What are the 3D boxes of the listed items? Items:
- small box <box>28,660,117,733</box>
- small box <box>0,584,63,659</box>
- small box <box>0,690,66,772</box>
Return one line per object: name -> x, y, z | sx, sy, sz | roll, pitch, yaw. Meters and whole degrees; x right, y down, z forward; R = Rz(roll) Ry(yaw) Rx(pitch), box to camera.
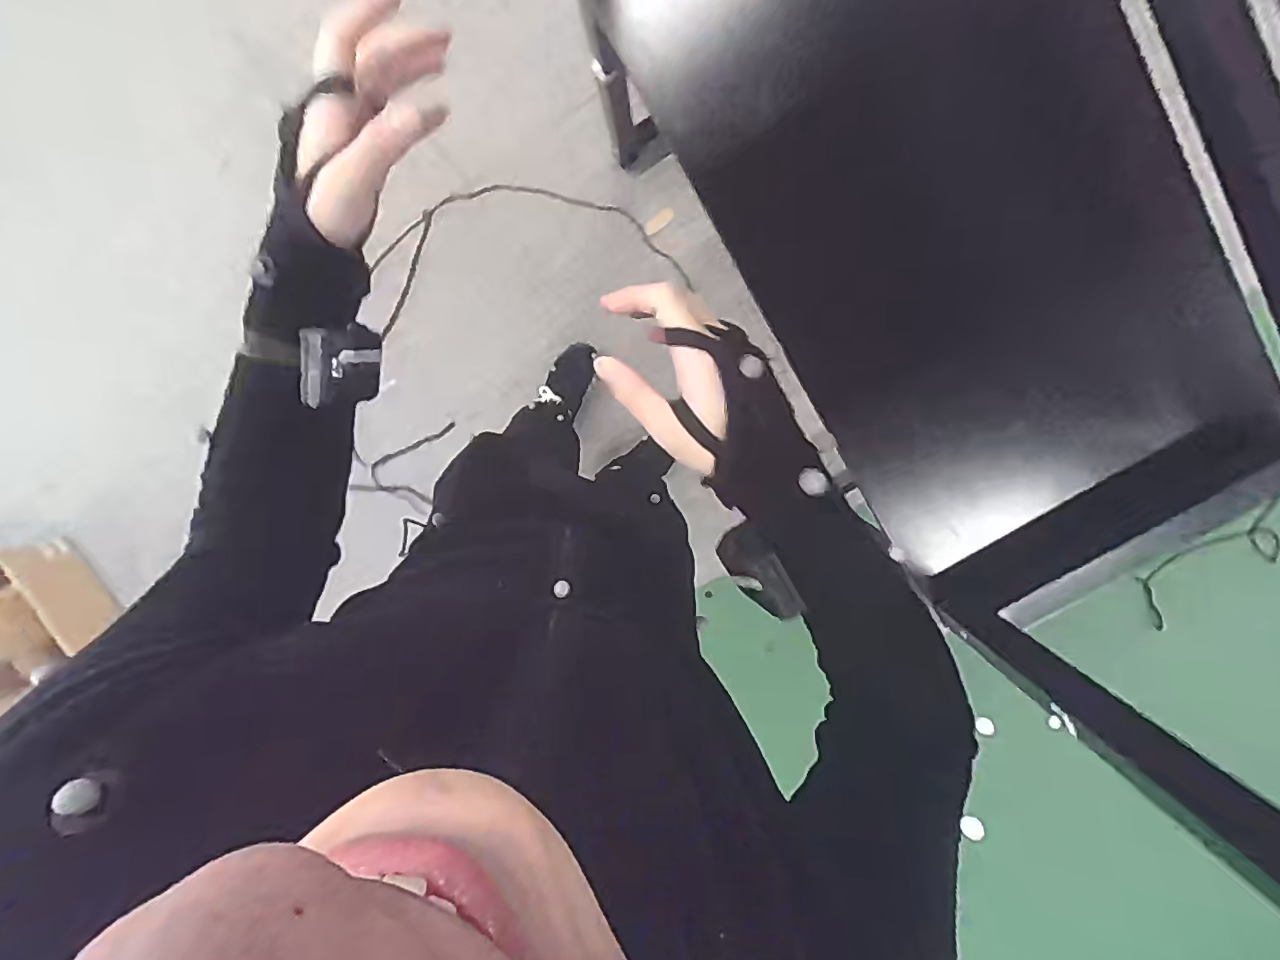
small box -> -1.759, 0.679, 1.642 | 0.179, 0.176, 0.168 | -28, 97, 7
small box -> -1.892, 0.434, 1.604 | 0.179, 0.176, 0.168 | -26, 98, 6
small box -> -1.763, 0.704, 1.480 | 0.168, 0.176, 0.179 | -29, 97, 8
